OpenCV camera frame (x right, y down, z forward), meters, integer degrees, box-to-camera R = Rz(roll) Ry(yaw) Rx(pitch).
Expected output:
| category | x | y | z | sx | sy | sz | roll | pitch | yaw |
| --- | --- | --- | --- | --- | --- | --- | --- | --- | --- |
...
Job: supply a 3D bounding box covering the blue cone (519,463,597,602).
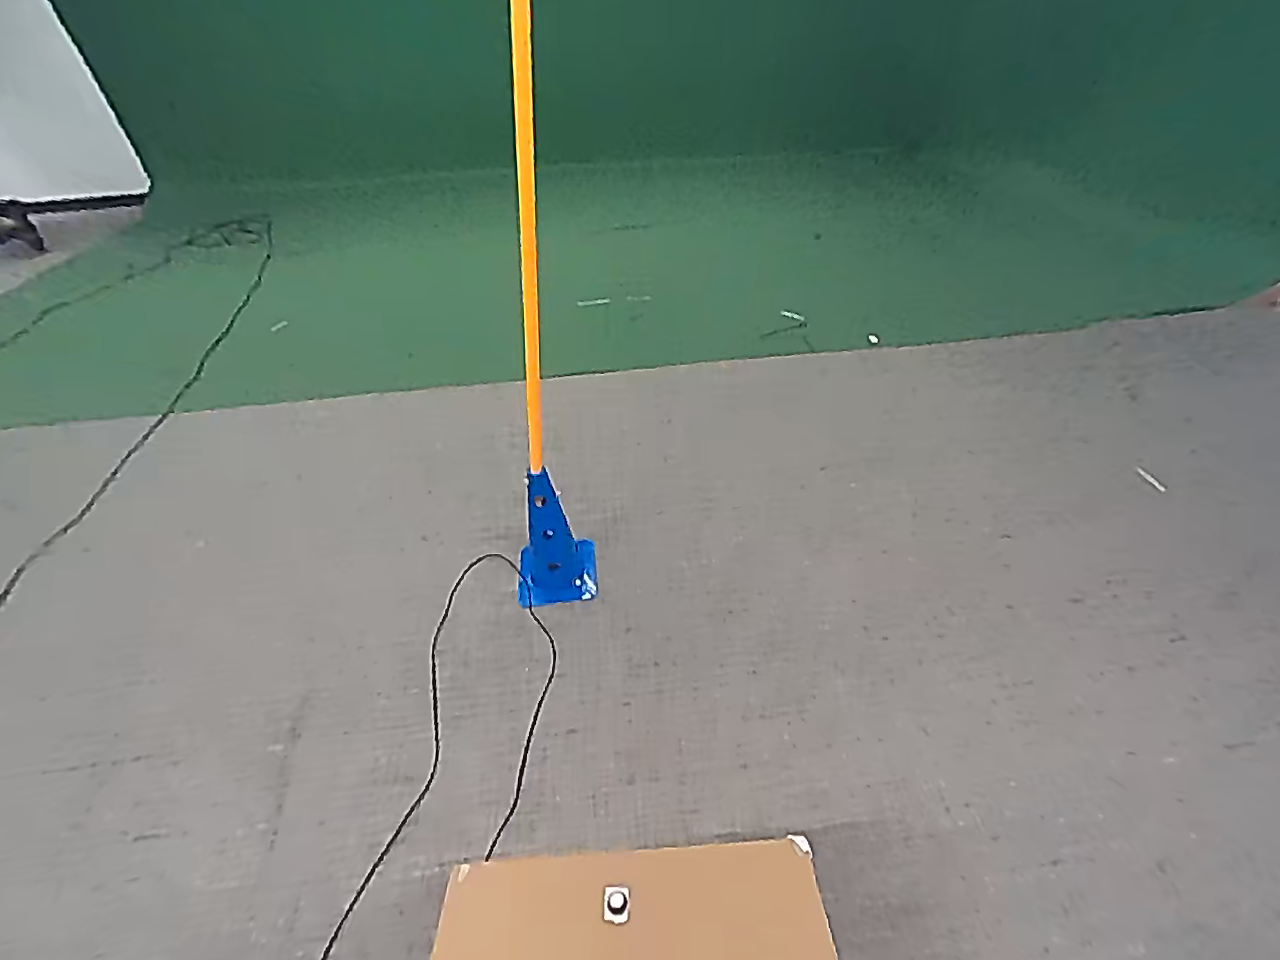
| category | x | y | z | sx | sy | sz | roll | pitch | yaw |
| --- | --- | --- | --- | --- | --- | --- | --- | --- | --- |
| blue cone | -0.215 | 0.107 | 1.291 | 0.193 | 0.380 | 0.192 | -7 | 43 | -7 |
